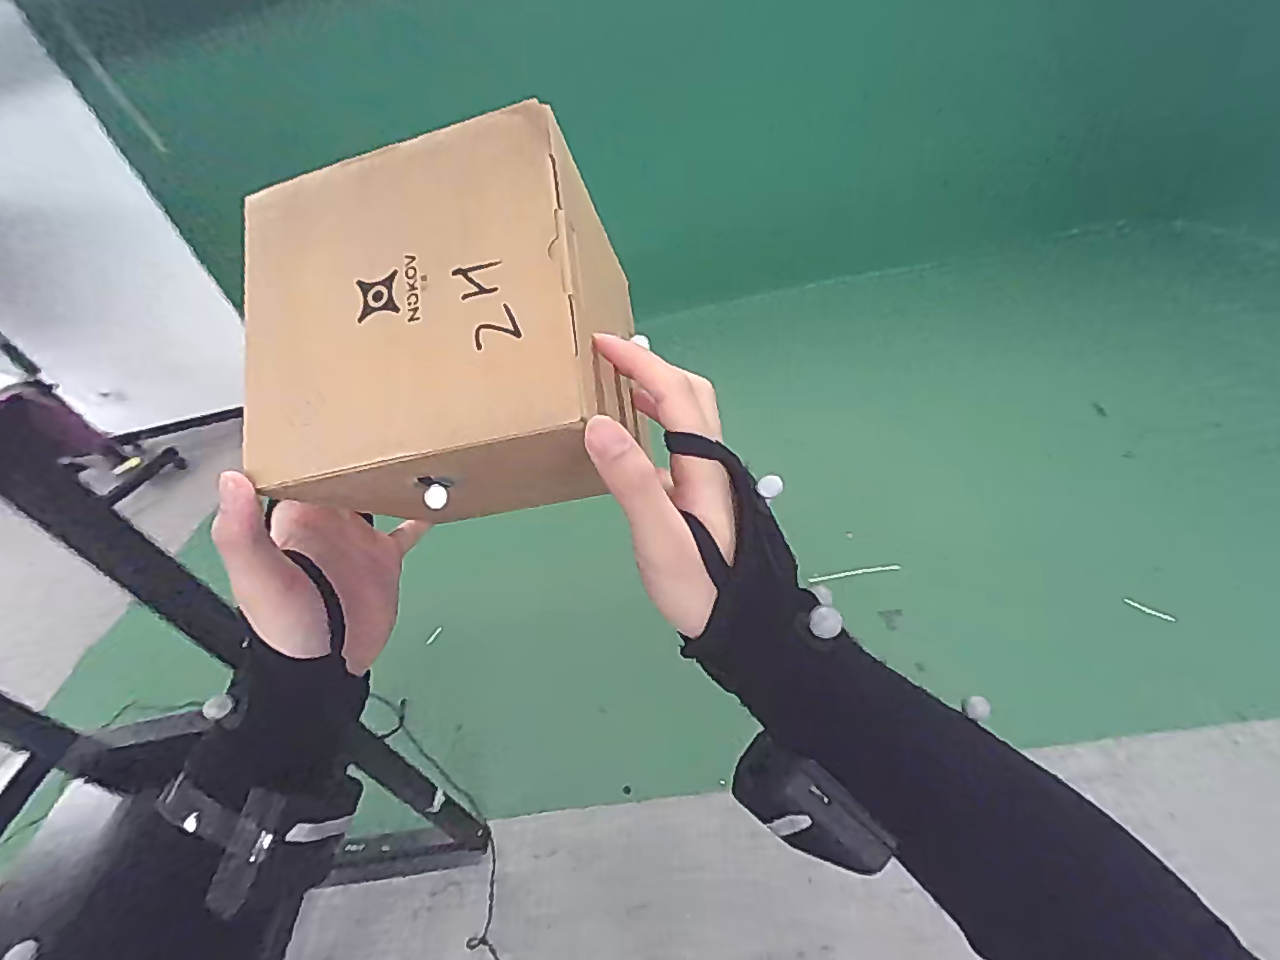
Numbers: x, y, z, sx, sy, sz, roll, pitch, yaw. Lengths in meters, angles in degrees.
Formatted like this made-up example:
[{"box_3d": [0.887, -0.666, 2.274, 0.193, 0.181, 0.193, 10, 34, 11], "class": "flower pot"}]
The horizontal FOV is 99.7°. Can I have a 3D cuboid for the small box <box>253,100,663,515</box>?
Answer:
[{"box_3d": [-0.094, -0.077, 0.336, 0.179, 0.176, 0.168, -10, 78, 10], "class": "small box"}]
